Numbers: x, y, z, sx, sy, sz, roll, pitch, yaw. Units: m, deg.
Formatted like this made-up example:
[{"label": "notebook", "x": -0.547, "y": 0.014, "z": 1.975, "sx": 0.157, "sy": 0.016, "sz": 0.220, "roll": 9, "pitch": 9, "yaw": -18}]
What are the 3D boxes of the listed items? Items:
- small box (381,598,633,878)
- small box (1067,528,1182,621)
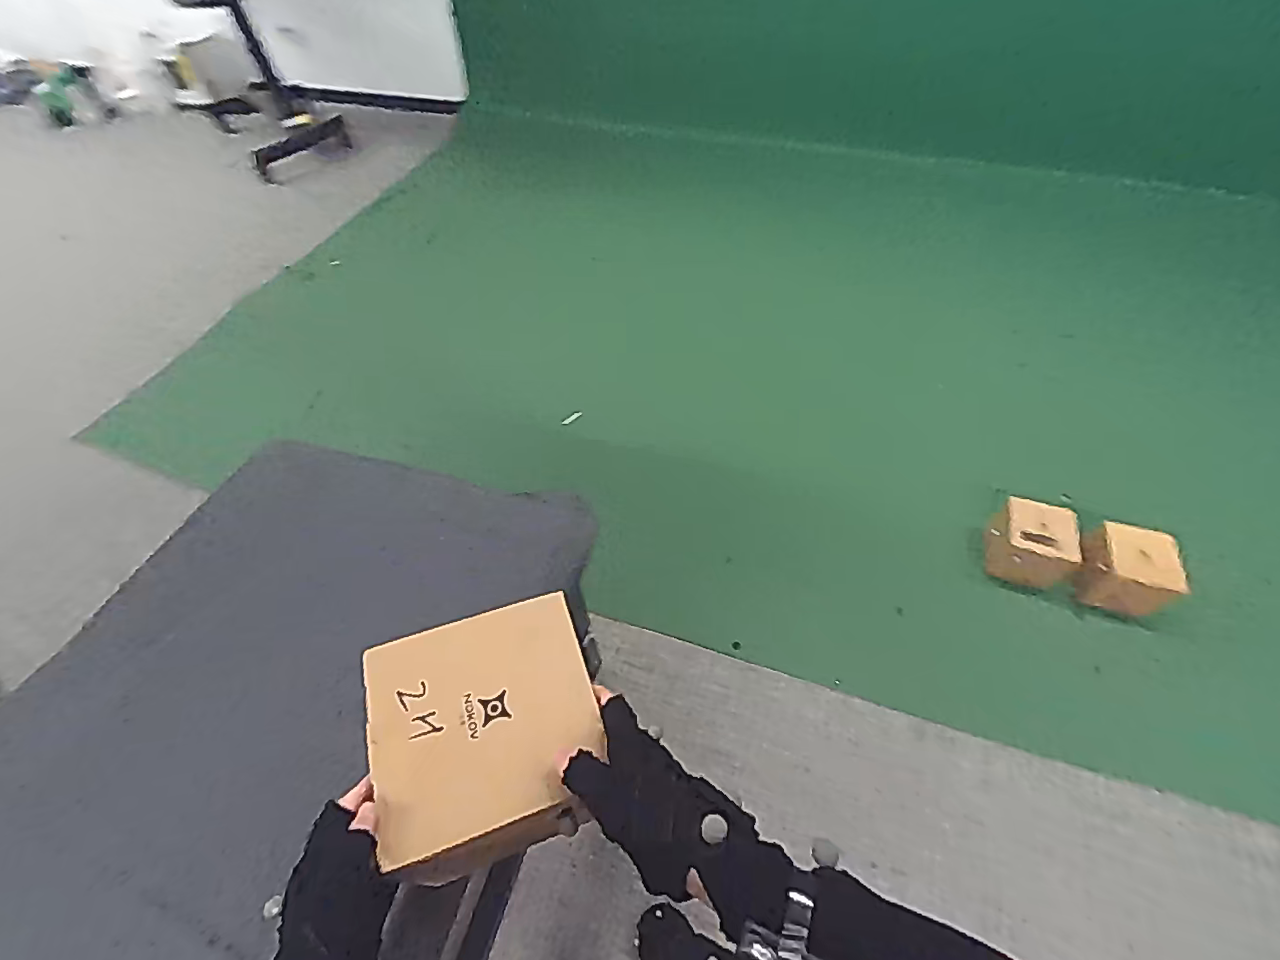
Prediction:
[{"label": "small box", "x": -0.117, "y": 0.235, "z": 0.493, "sx": 0.179, "sy": 0.176, "sz": 0.168, "roll": -13, "pitch": 54, "yaw": -14}, {"label": "small box", "x": 1.332, "y": 0.265, "z": 1.504, "sx": 0.168, "sy": 0.176, "sz": 0.179, "roll": 14, "pitch": 56, "yaw": 11}]
